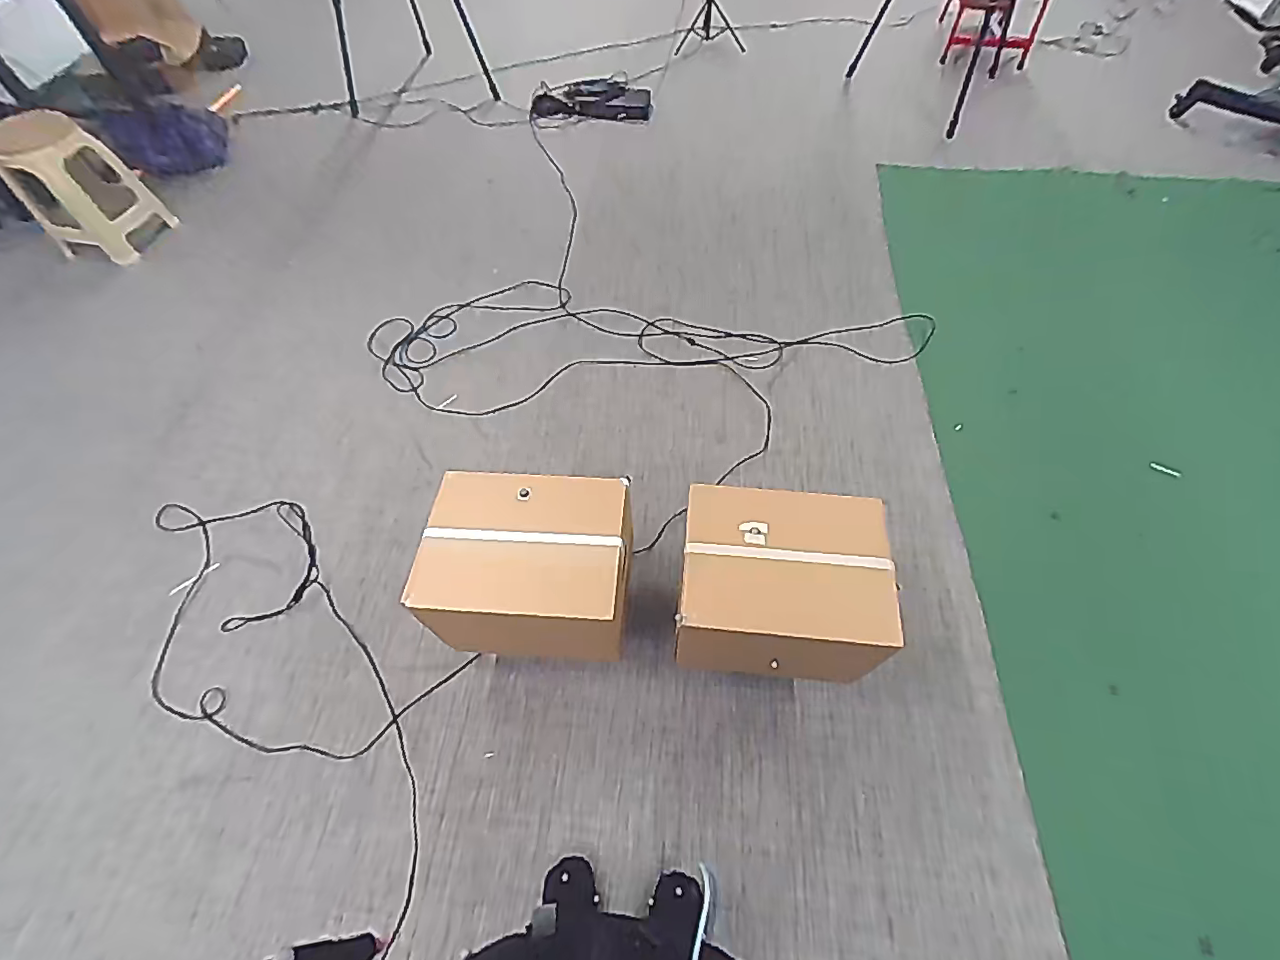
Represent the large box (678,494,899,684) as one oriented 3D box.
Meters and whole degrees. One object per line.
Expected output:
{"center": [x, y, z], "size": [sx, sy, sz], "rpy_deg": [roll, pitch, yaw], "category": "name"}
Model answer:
{"center": [0.299, 0.251, 1.204], "size": [0.408, 0.320, 0.320], "rpy_deg": [5, 57, 5], "category": "large box"}
